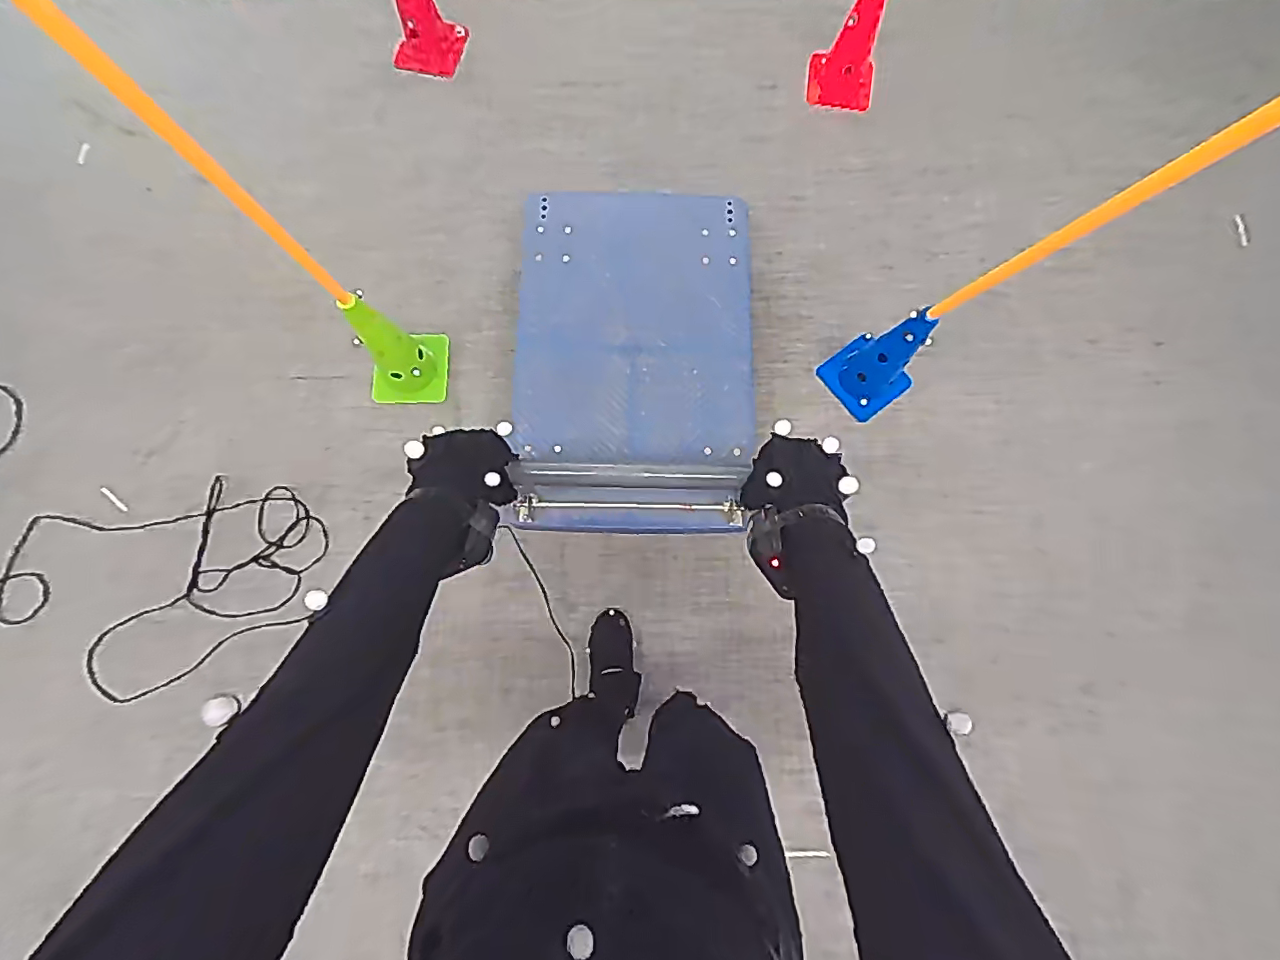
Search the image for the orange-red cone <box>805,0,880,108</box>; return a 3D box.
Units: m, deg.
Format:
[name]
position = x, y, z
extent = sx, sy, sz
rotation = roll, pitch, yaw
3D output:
[orange-red cone]
position = 0.618, -1.281, 1.511
extent = 0.198, 0.360, 0.199
rotation = 10, 79, 3
